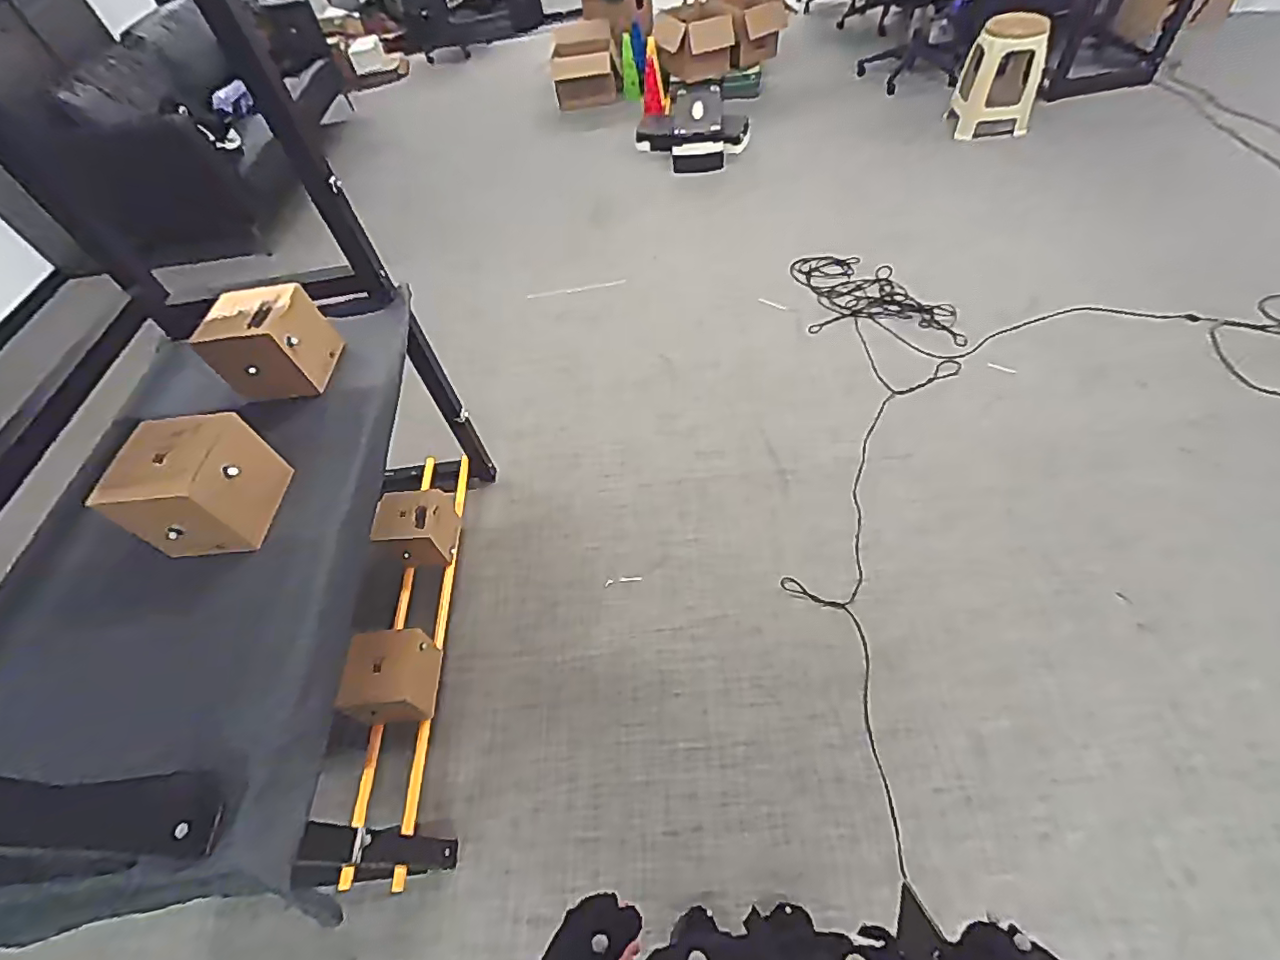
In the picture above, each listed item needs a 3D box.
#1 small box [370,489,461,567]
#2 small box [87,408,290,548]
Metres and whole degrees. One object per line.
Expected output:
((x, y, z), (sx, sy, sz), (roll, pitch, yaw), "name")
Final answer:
((-0.645, 0.144, 1.581), (0.179, 0.176, 0.168), (-4, 53, 4), "small box")
((-0.740, 0.005, 0.915), (0.168, 0.176, 0.179), (-5, 53, 4), "small box")
